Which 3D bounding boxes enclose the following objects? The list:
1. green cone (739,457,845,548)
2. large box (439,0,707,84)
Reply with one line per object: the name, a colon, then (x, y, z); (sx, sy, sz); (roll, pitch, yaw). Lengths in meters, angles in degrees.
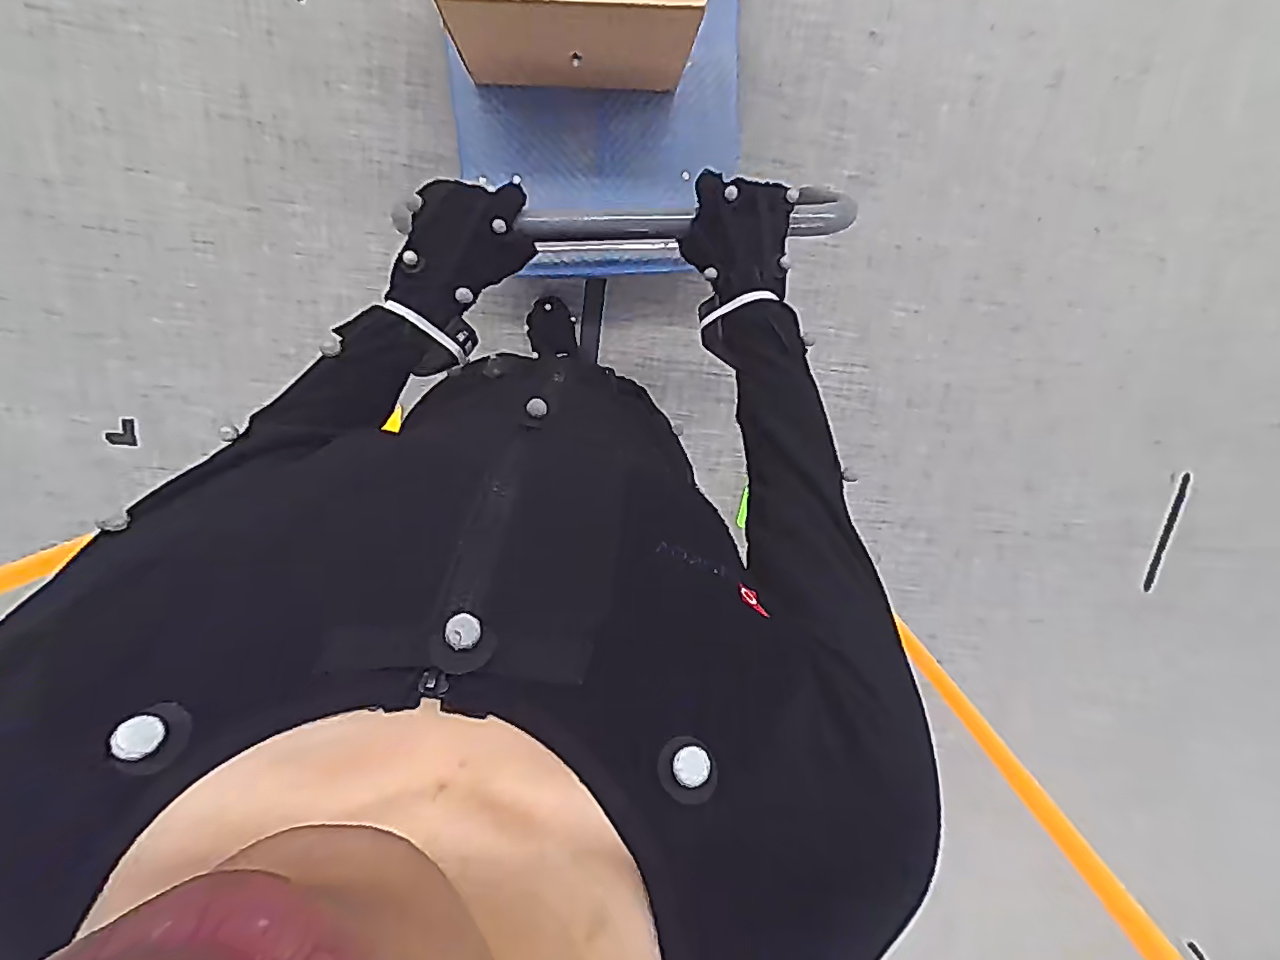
green cone: (0.410, 0.088, 1.365); (0.202, 0.368, 0.200); (9, 104, -9)
large box: (-0.110, -0.894, 0.896); (0.408, 0.320, 0.320); (-2, 106, -4)
